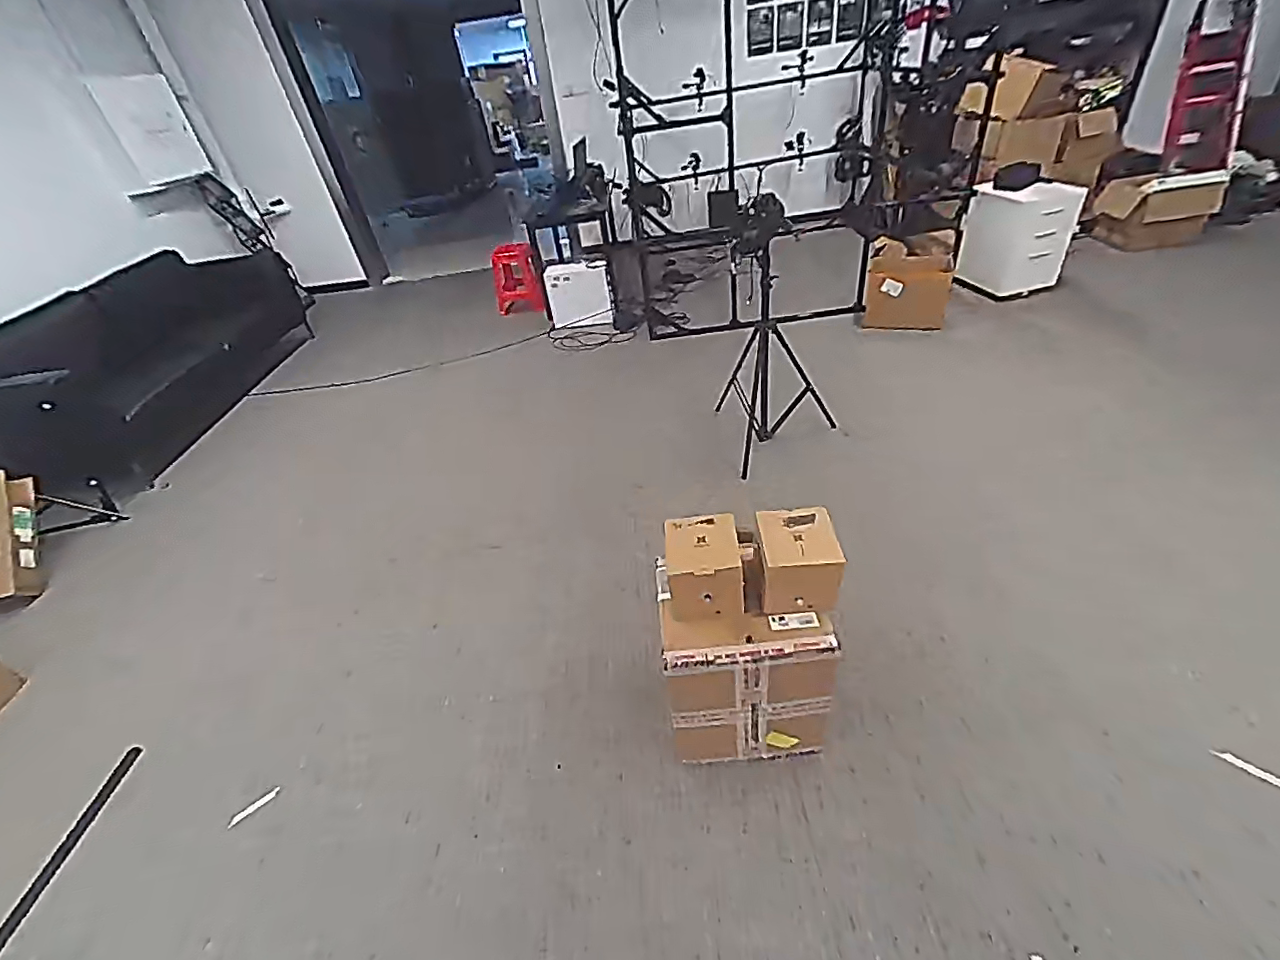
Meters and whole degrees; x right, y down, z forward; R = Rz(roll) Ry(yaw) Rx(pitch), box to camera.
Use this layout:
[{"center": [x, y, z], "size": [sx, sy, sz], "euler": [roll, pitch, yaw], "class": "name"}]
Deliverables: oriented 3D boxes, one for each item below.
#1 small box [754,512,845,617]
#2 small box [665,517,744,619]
[{"center": [0.360, 0.196, 1.256], "size": [0.168, 0.176, 0.179], "euler": [-4, 40, 4], "class": "small box"}, {"center": [0.151, 0.213, 1.274], "size": [0.168, 0.176, 0.179], "euler": [-6, 40, 7], "class": "small box"}]
